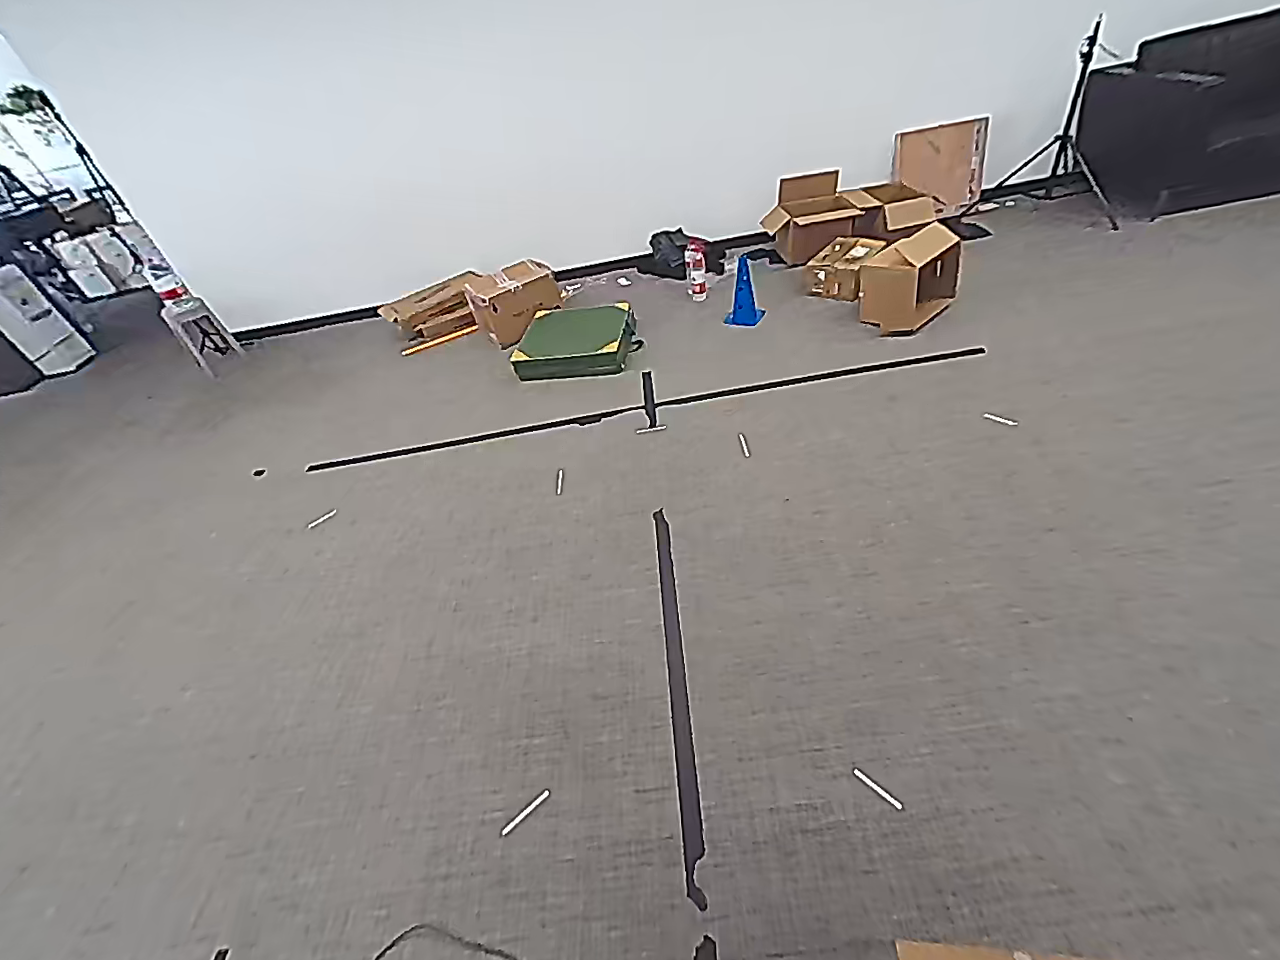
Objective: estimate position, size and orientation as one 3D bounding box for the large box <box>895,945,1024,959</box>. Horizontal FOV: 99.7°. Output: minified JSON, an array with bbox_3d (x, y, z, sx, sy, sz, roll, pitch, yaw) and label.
[{"bbox_3d":[0.463,0.771,0.510,0.320,0.408,0.320,-3,86,12],"label":"large box"}]
